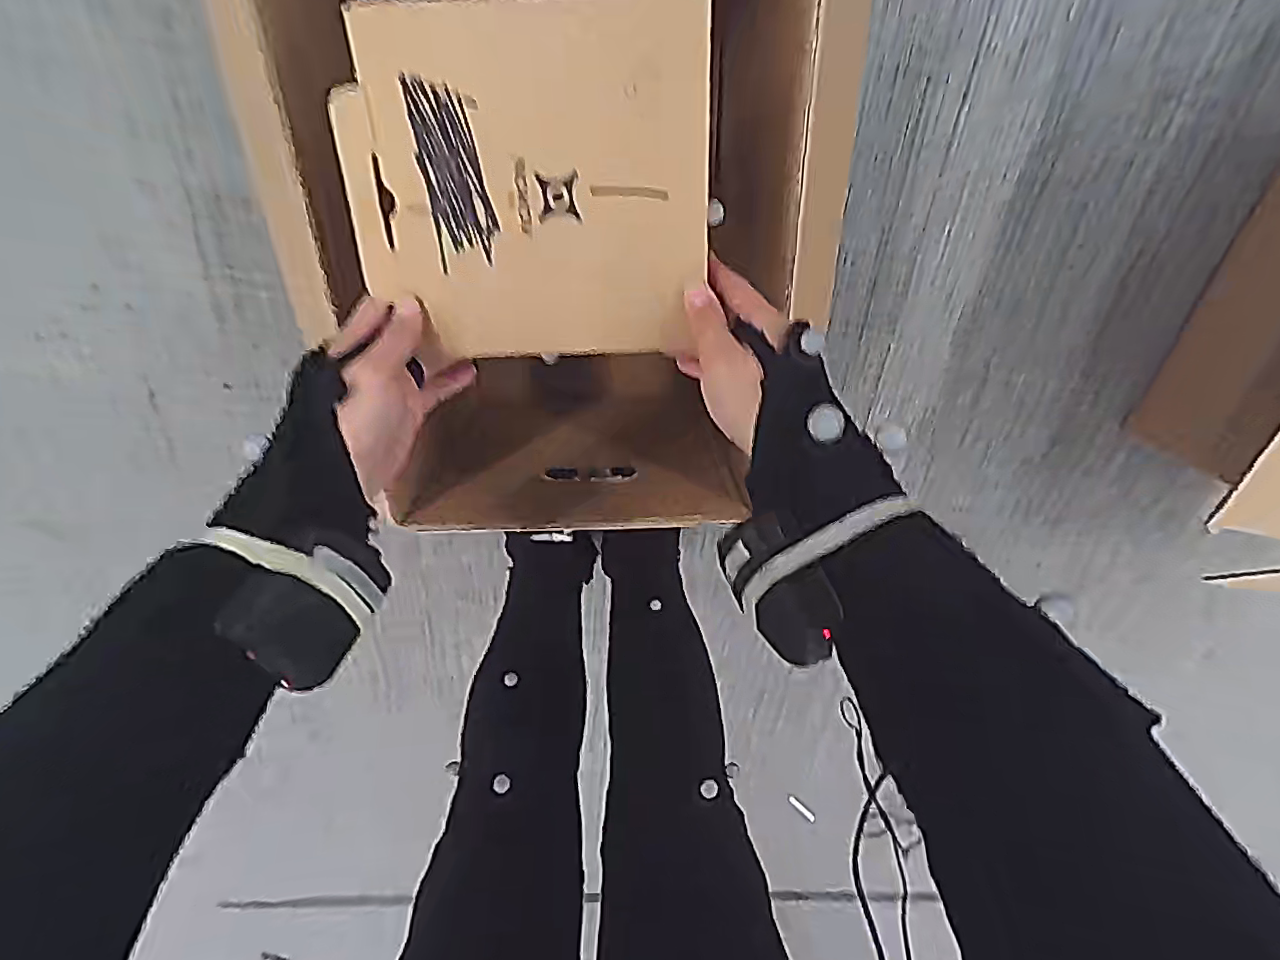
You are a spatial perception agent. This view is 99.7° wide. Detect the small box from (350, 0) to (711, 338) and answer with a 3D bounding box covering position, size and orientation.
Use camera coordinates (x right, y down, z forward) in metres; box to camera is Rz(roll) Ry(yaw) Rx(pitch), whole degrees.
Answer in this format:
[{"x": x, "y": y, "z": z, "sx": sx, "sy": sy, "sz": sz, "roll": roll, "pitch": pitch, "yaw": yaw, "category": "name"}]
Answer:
[{"x": -0.048, "y": -0.189, "z": 0.357, "sx": 0.179, "sy": 0.176, "sz": 0.168, "roll": 0, "pitch": 113, "yaw": 3, "category": "small box"}]
